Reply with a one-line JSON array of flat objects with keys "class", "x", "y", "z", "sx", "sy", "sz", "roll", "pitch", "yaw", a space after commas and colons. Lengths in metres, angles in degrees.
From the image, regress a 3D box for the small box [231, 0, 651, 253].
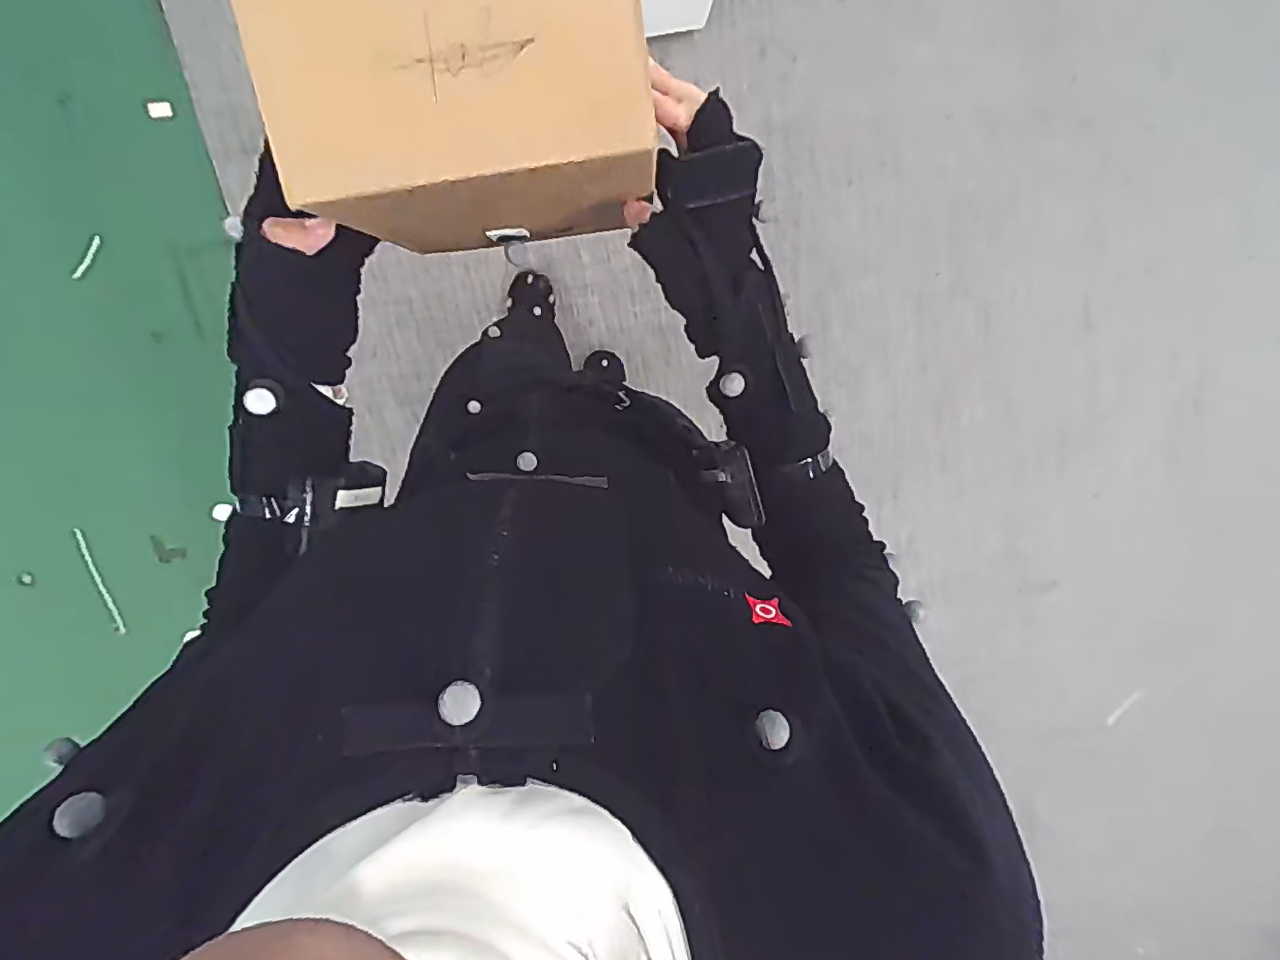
[{"class": "small box", "x": -0.086, "y": -0.236, "z": 0.292, "sx": 0.168, "sy": 0.176, "sz": 0.179, "roll": -7, "pitch": 105, "yaw": 3}]
